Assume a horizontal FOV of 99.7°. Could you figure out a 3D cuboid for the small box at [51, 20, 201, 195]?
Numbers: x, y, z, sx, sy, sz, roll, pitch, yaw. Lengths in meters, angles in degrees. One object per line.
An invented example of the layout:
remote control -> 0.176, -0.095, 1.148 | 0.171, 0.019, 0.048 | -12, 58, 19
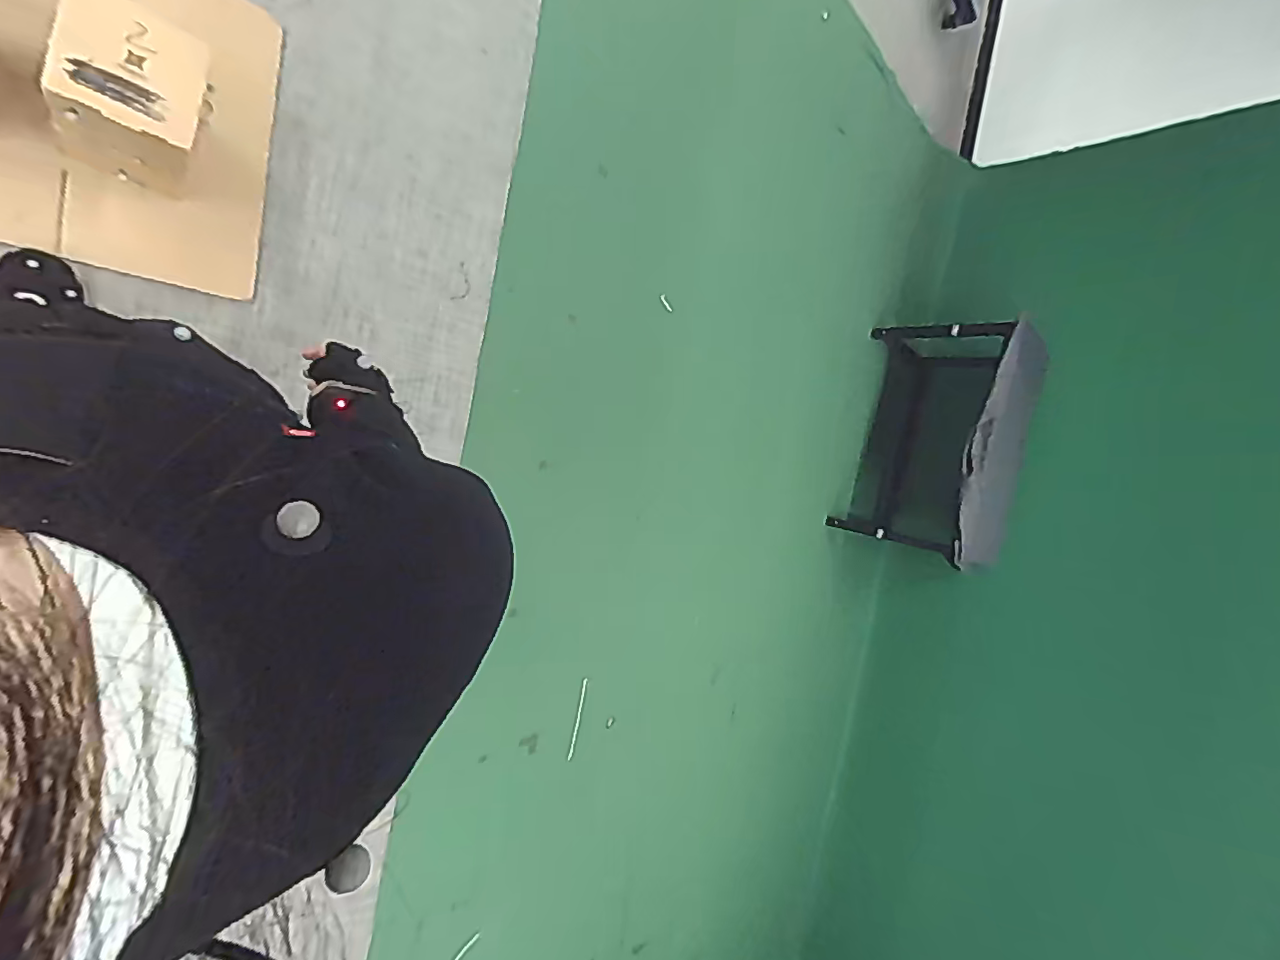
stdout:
small box -> -0.921, -0.655, 0.977 | 0.168, 0.176, 0.179 | 12, 91, -43
